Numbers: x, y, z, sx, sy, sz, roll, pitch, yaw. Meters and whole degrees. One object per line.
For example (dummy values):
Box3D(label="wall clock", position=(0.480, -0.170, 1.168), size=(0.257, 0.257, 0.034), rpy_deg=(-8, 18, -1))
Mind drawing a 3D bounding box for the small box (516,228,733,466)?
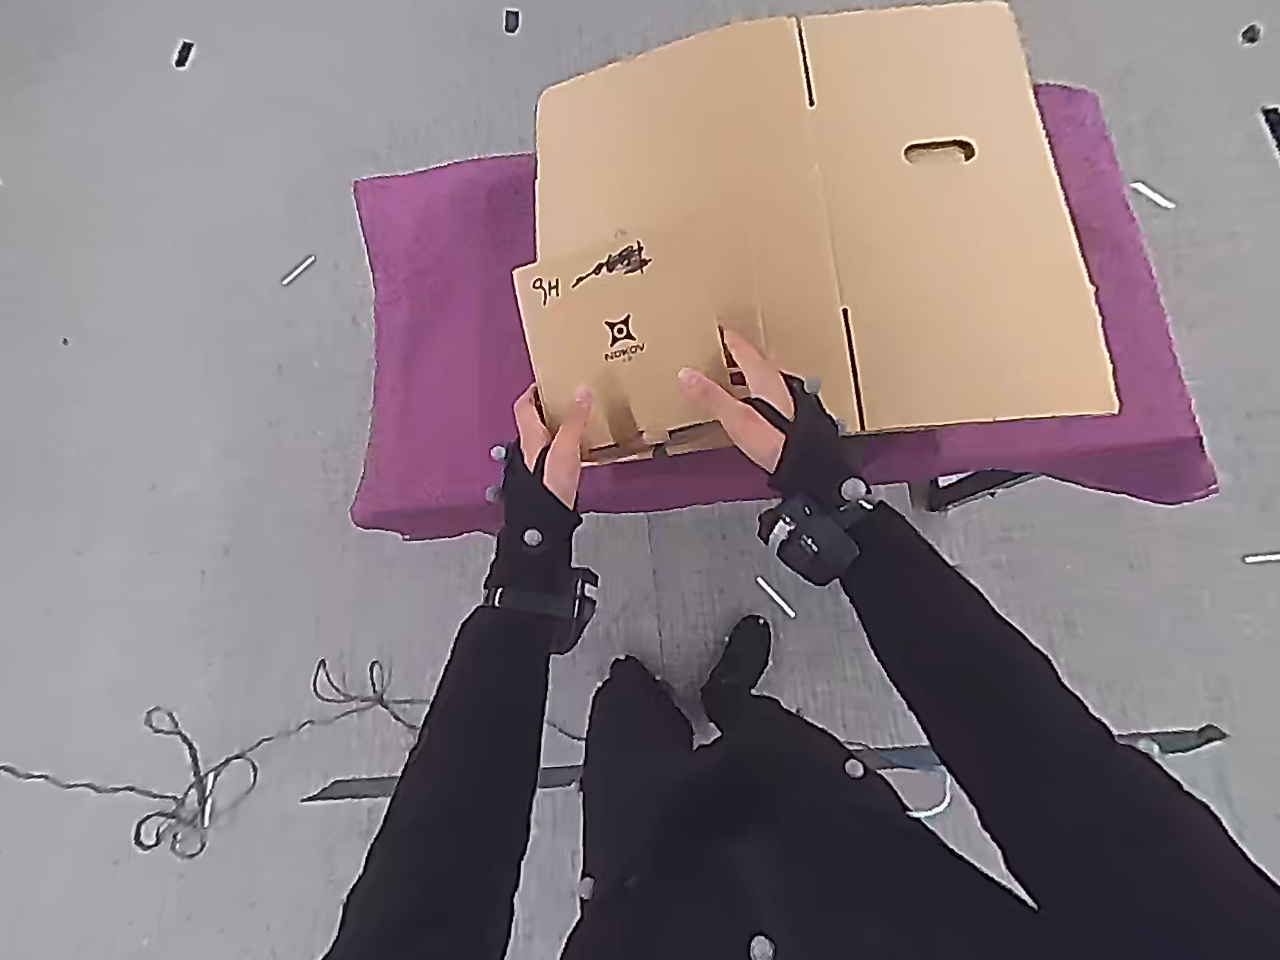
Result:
Box3D(label="small box", position=(-0.002, -0.116, 0.548), size=(0.168, 0.176, 0.179), rpy_deg=(-13, 89, 10))
